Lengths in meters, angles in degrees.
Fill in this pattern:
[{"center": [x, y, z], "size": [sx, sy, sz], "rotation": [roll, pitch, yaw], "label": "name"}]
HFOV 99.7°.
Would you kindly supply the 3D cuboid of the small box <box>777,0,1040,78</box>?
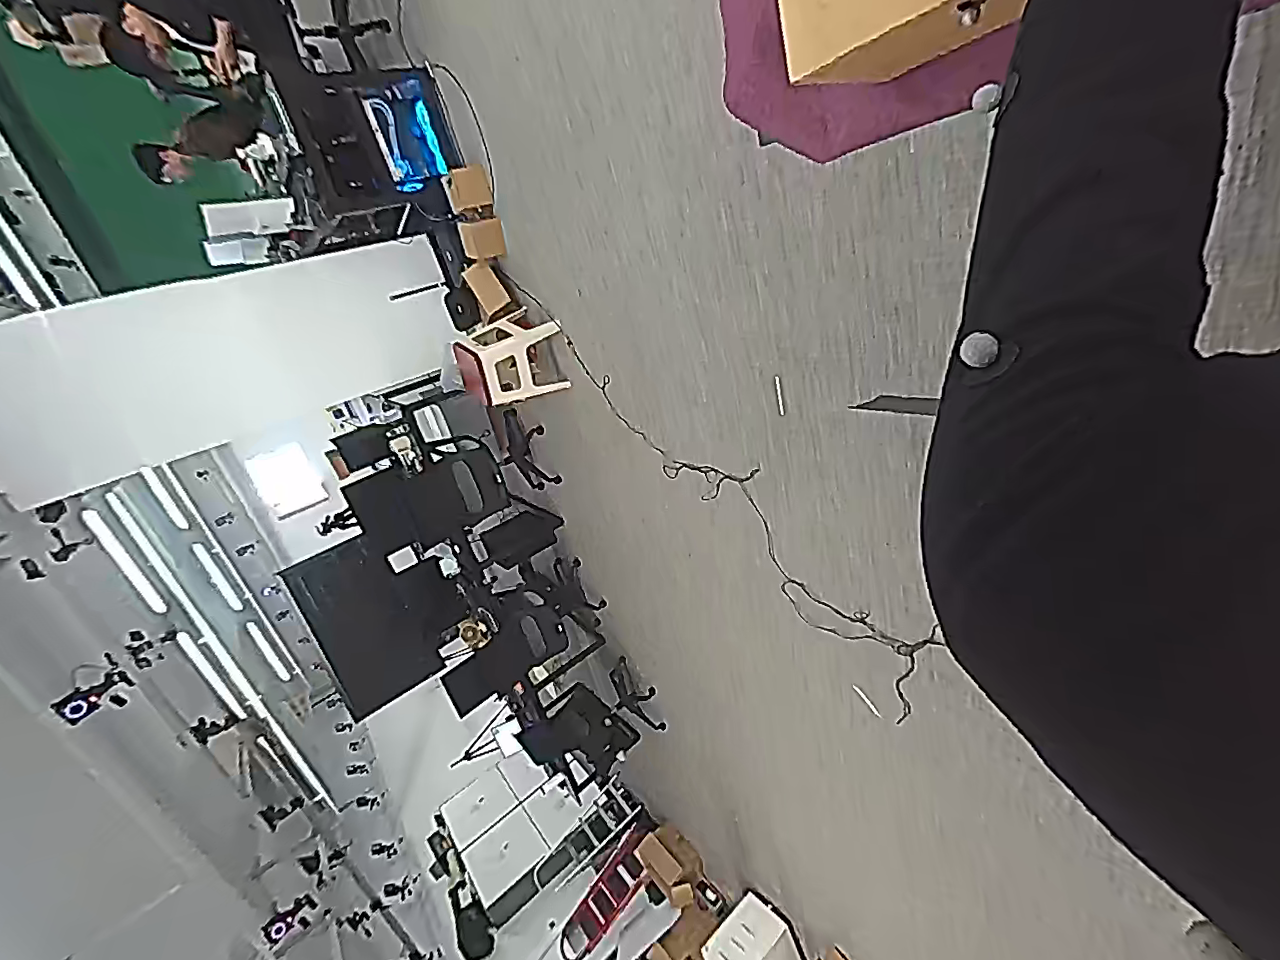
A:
[{"center": [0.225, -0.453, 0.434], "size": [0.179, 0.176, 0.168], "rotation": [9, 123, 51], "label": "small box"}]
